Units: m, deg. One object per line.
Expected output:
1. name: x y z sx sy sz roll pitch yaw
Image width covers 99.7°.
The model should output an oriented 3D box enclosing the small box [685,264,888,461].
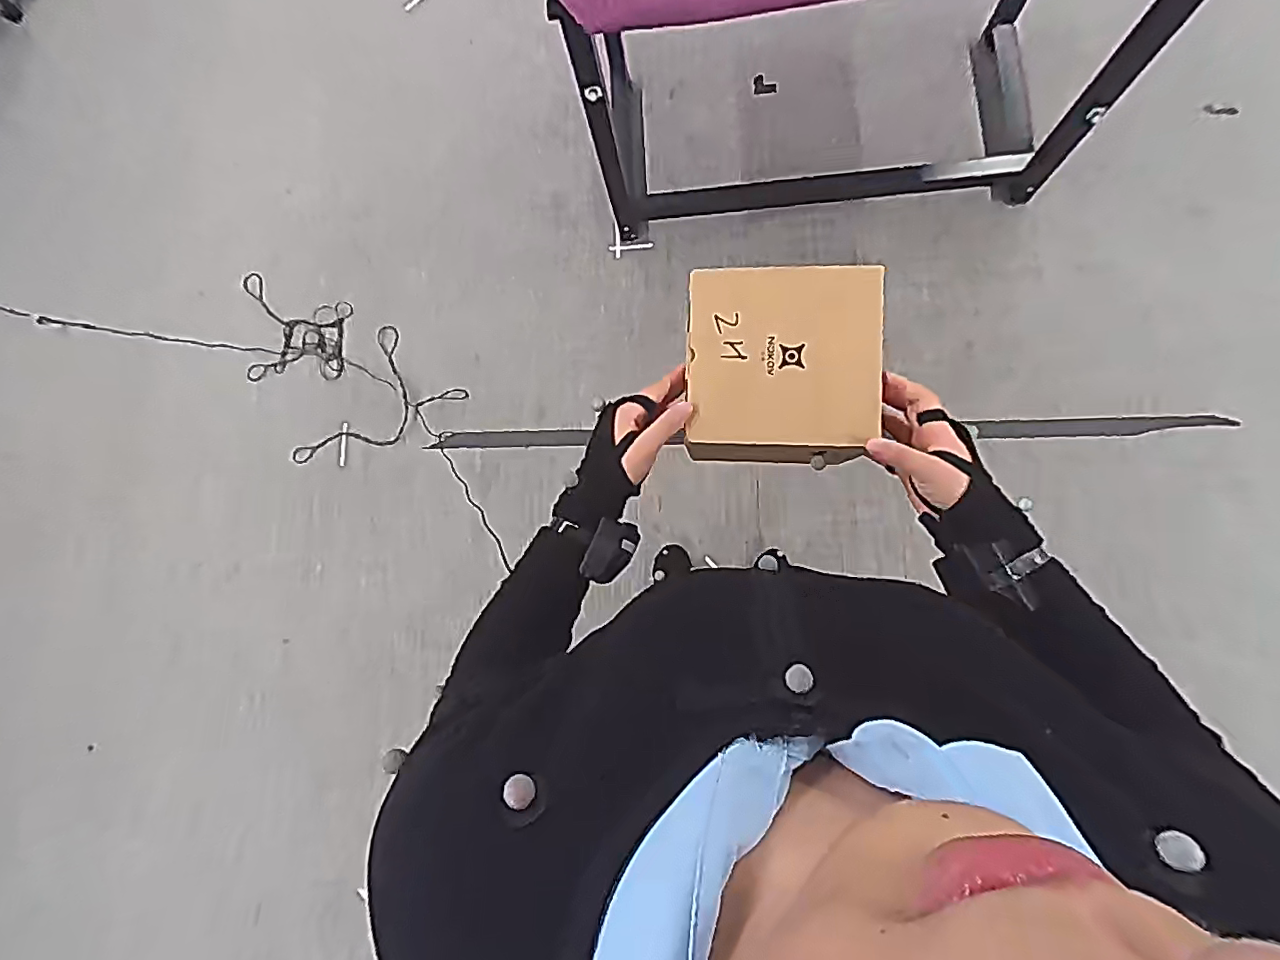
1. small box: 0.142 -0.111 0.569 0.179 0.176 0.168 3 86 8
